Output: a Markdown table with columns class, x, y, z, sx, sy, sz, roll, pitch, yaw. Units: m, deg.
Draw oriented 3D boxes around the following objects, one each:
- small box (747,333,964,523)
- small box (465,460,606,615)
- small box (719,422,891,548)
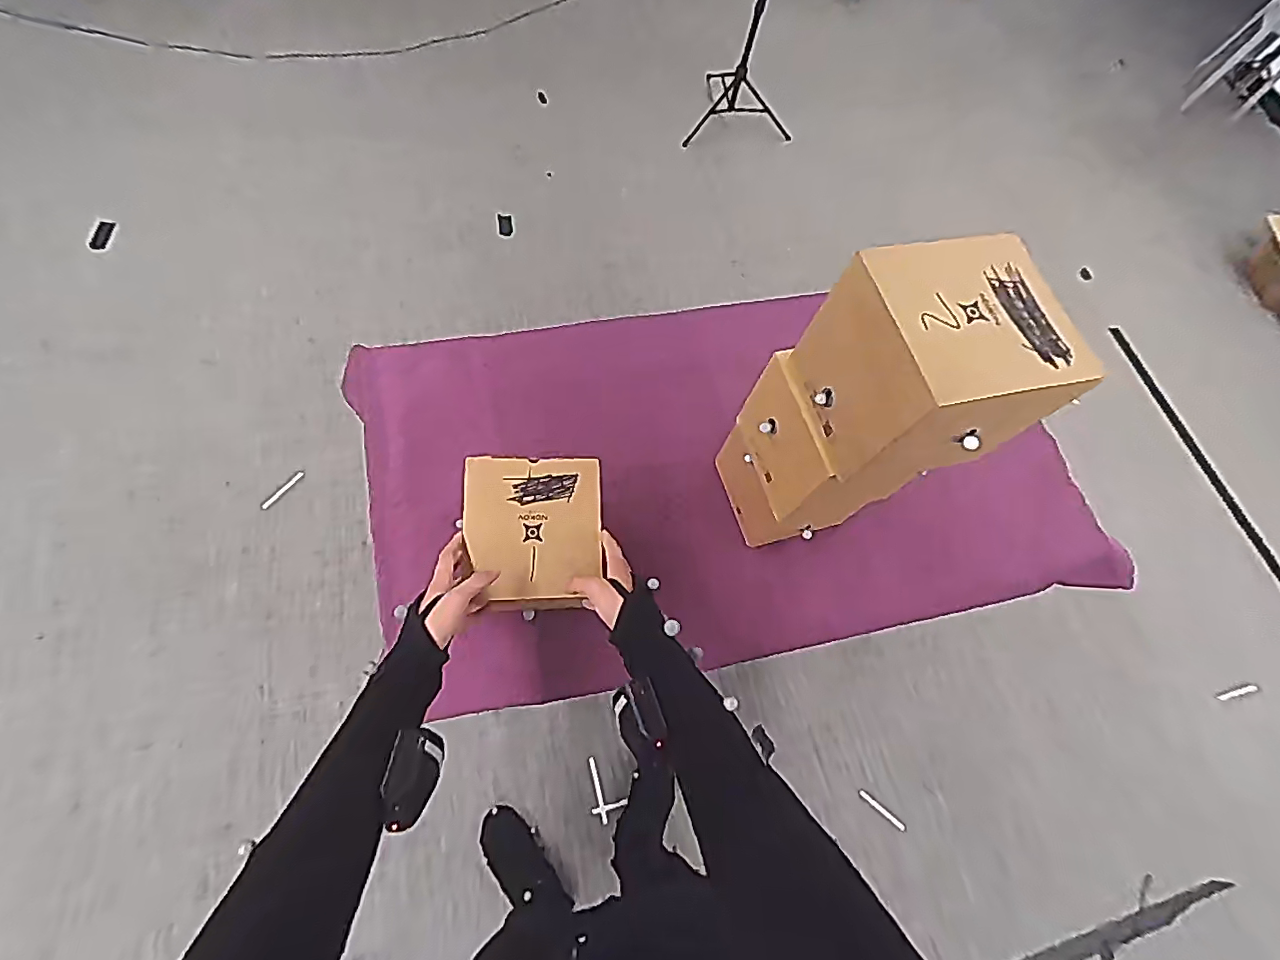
| class | x | y | z | sx | sy | sz | roll | pitch | yaw |
| --- | --- | --- | --- | --- | --- | --- | --- | --- | --- |
| small box | 0.252 | -0.059 | 0.690 | 0.179 | 0.176 | 0.168 | -13 | 69 | -13 |
| small box | -0.139 | 0.084 | 0.729 | 0.168 | 0.176 | 0.179 | 1 | 72 | -11 |
| small box | 0.247 | -0.008 | 0.846 | 0.179 | 0.176 | 0.168 | -13 | 68 | -14 |
